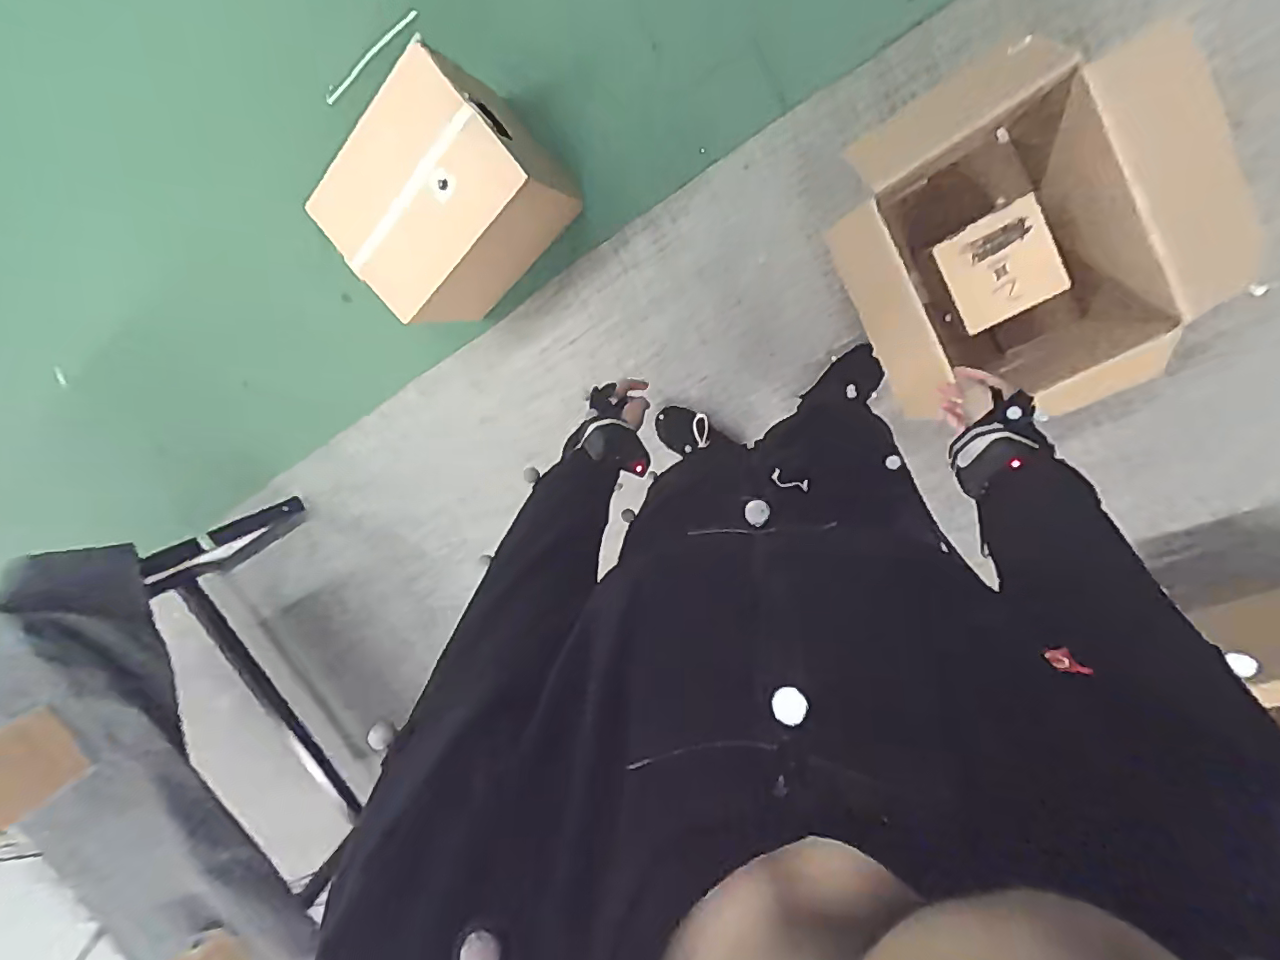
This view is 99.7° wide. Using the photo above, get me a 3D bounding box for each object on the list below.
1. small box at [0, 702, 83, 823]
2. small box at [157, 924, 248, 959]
[{"bbox_3d":[-1.312,0.592,1.102,0.168,0.176,0.179,-24,100,21],"label":"small box"},{"bbox_3d":[-1.006,1.147,1.206,0.168,0.176,0.179,-28,98,21],"label":"small box"}]
